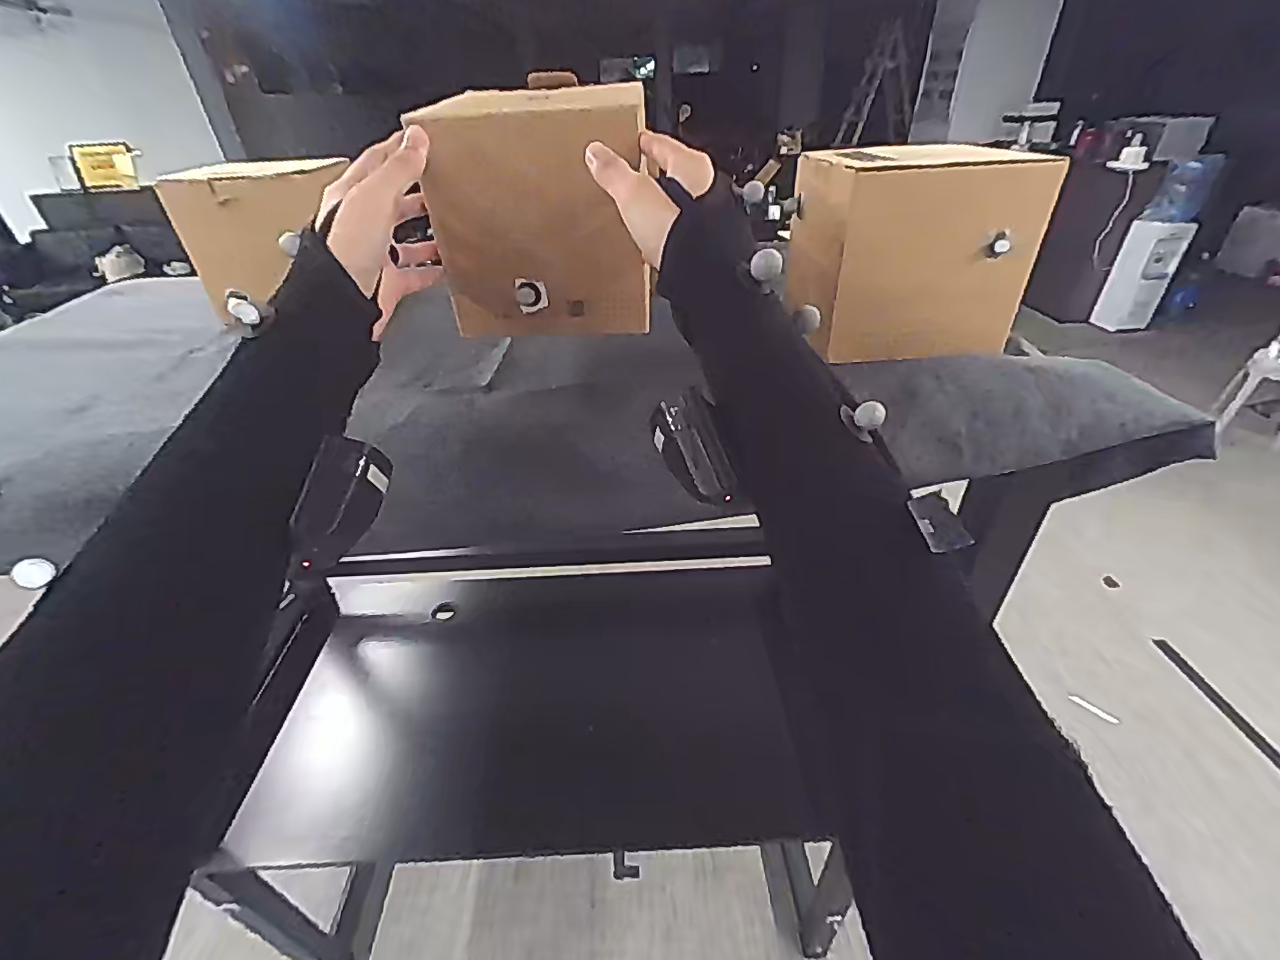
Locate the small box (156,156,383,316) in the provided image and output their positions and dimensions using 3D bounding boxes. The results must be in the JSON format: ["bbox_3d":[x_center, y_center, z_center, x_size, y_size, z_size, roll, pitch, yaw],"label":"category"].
[{"bbox_3d":[-0.470,-0.326,0.727,0.168,0.176,0.179,-5,35,-4],"label":"small box"}]

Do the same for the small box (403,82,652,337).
[{"bbox_3d":[-0.076,-0.239,0.477,0.168,0.176,0.179,-1,40,3],"label":"small box"}]

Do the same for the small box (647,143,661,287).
[{"bbox_3d":[-0.064,-0.354,0.741,0.179,0.176,0.168,-3,35,-1],"label":"small box"}]
